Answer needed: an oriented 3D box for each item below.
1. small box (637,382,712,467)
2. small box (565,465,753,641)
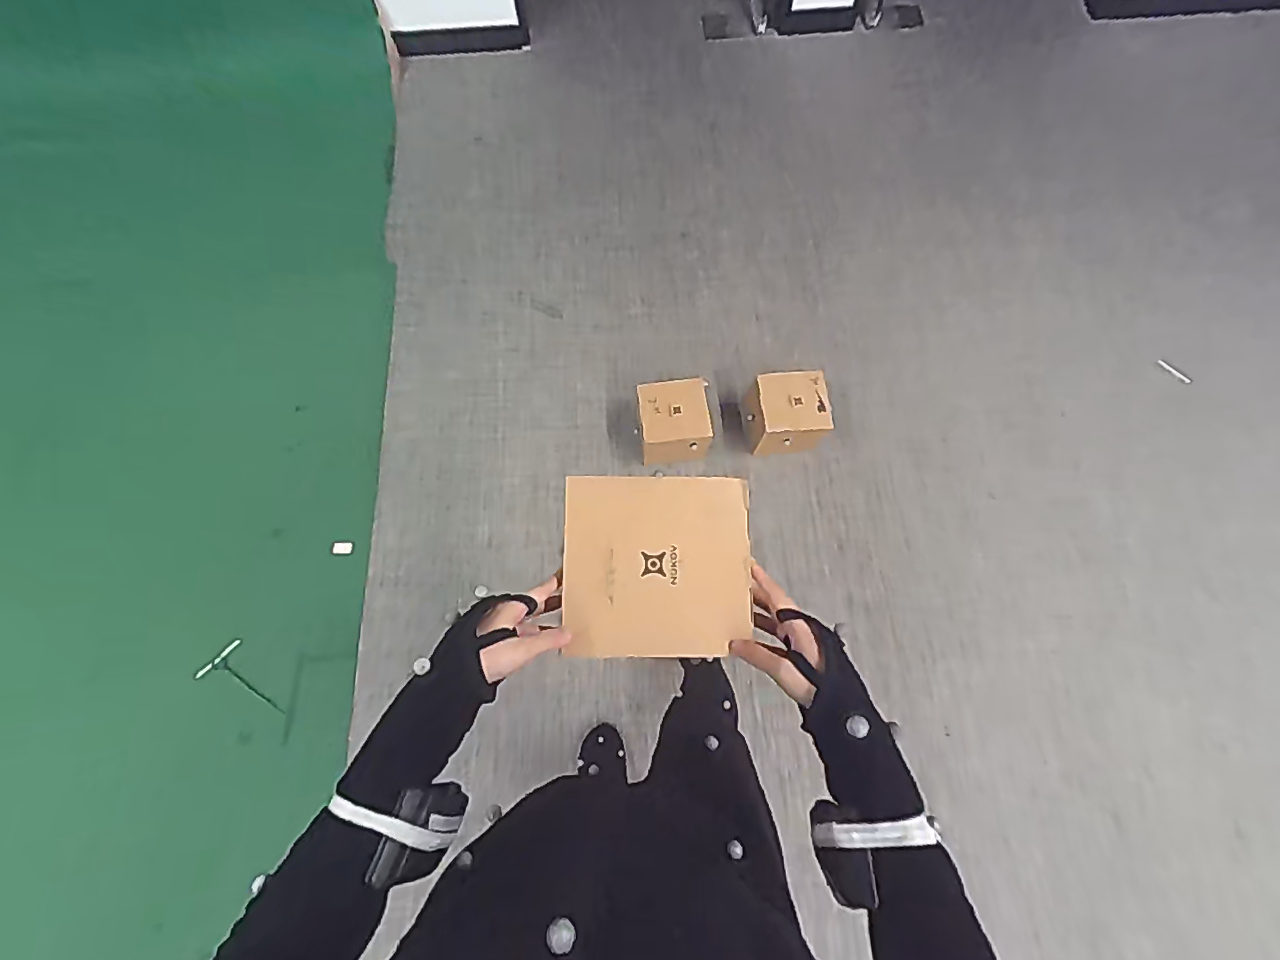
[{"bbox_3d":[0.086,-0.144,1.452,0.179,0.176,0.168,-7,71,-1],"label":"small box"},{"bbox_3d":[0.017,0.083,0.590,0.179,0.176,0.168,1,78,-1],"label":"small box"}]
